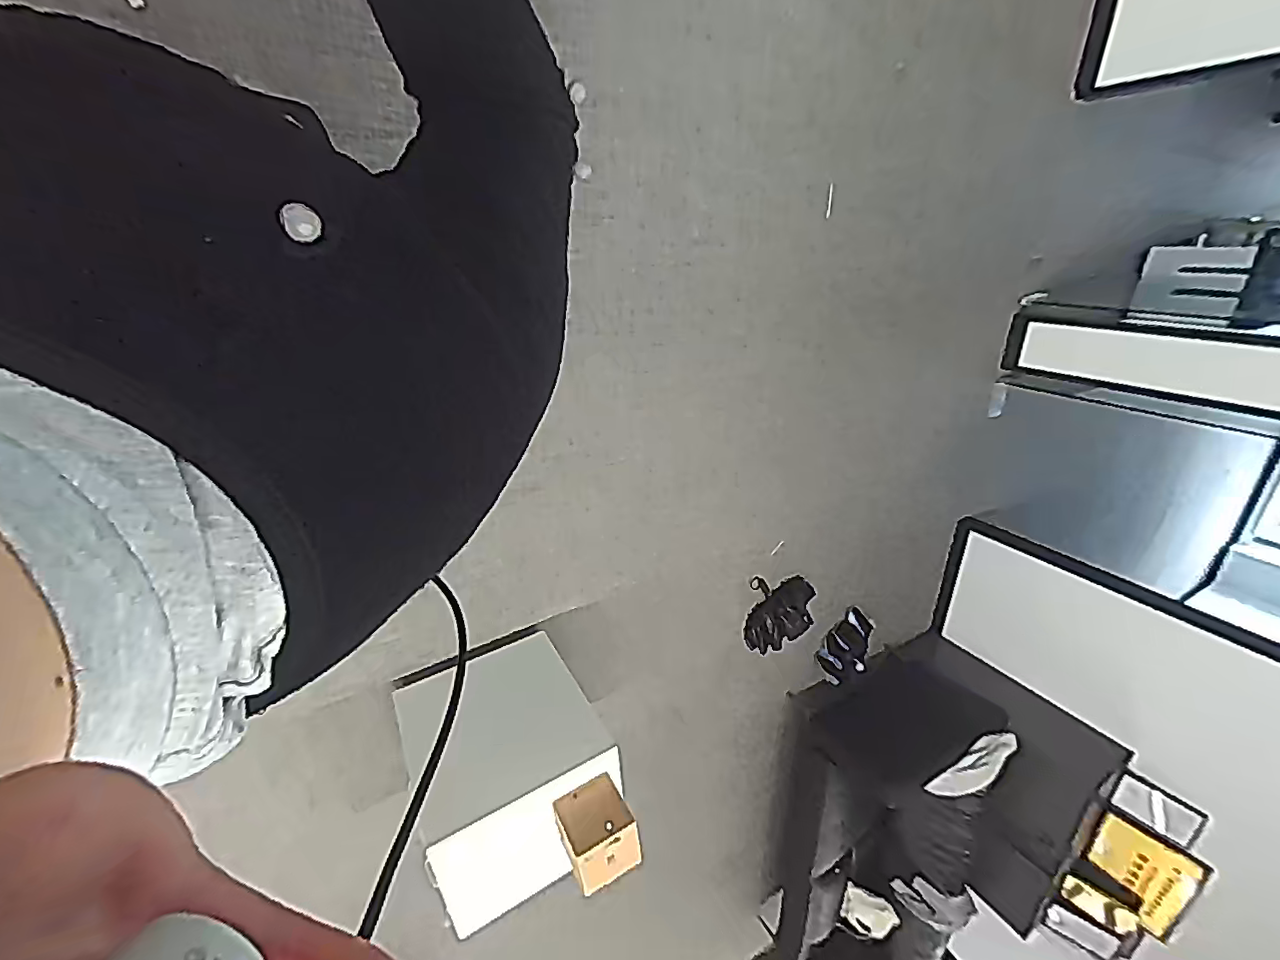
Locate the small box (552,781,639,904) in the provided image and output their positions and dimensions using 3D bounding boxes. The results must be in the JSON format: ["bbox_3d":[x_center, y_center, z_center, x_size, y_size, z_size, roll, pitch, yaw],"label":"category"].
[{"bbox_3d":[-0.116,0.936,1.409,0.168,0.176,0.179,-18,120,-24],"label":"small box"}]
